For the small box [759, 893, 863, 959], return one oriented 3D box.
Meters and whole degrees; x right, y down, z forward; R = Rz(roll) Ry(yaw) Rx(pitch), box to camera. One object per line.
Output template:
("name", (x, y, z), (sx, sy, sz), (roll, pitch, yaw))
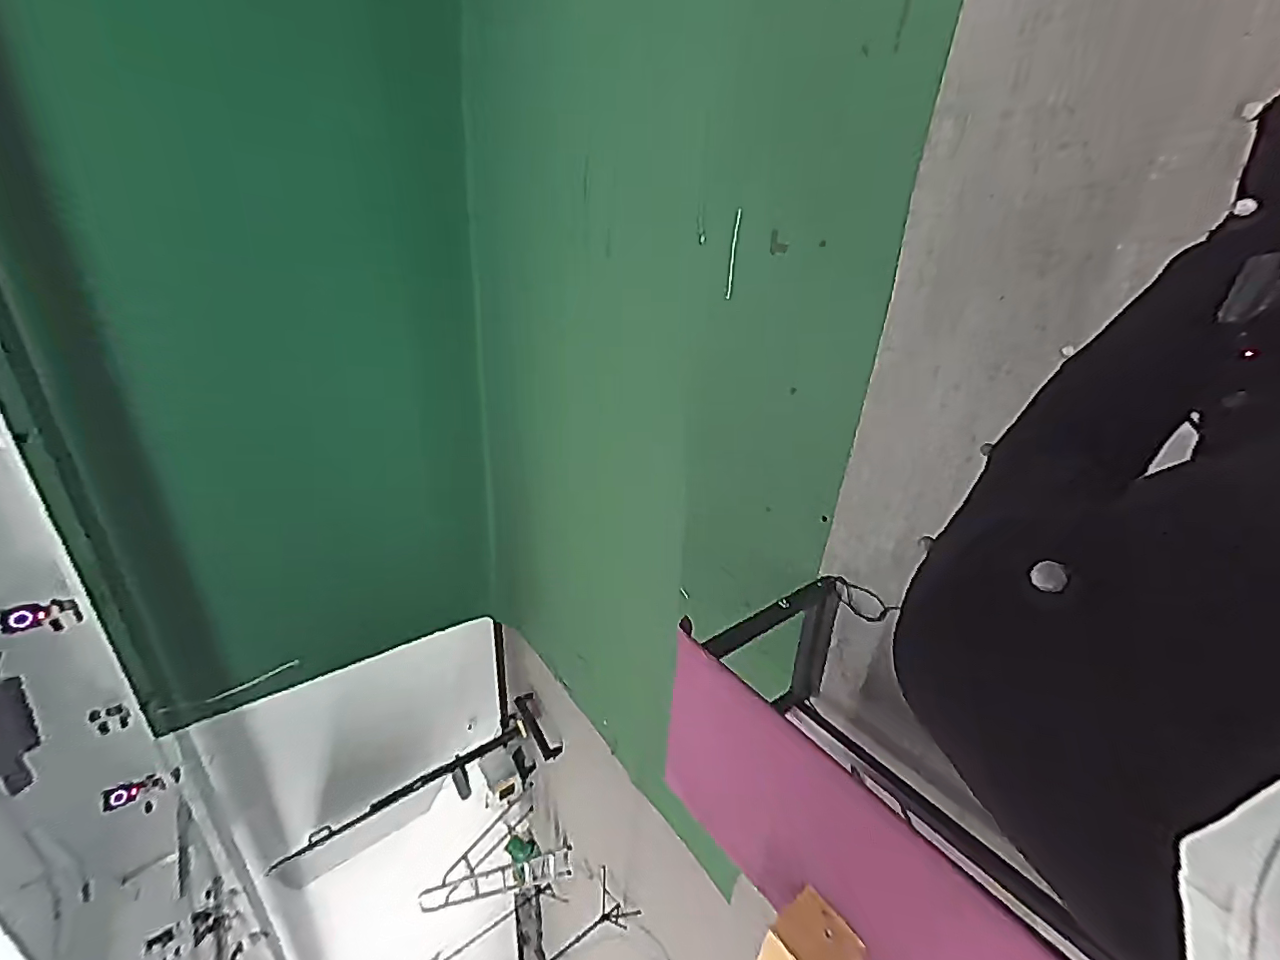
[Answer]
("small box", (0.414, 1.175, 1.320), (0.168, 0.176, 0.179), (33, 126, 43))
